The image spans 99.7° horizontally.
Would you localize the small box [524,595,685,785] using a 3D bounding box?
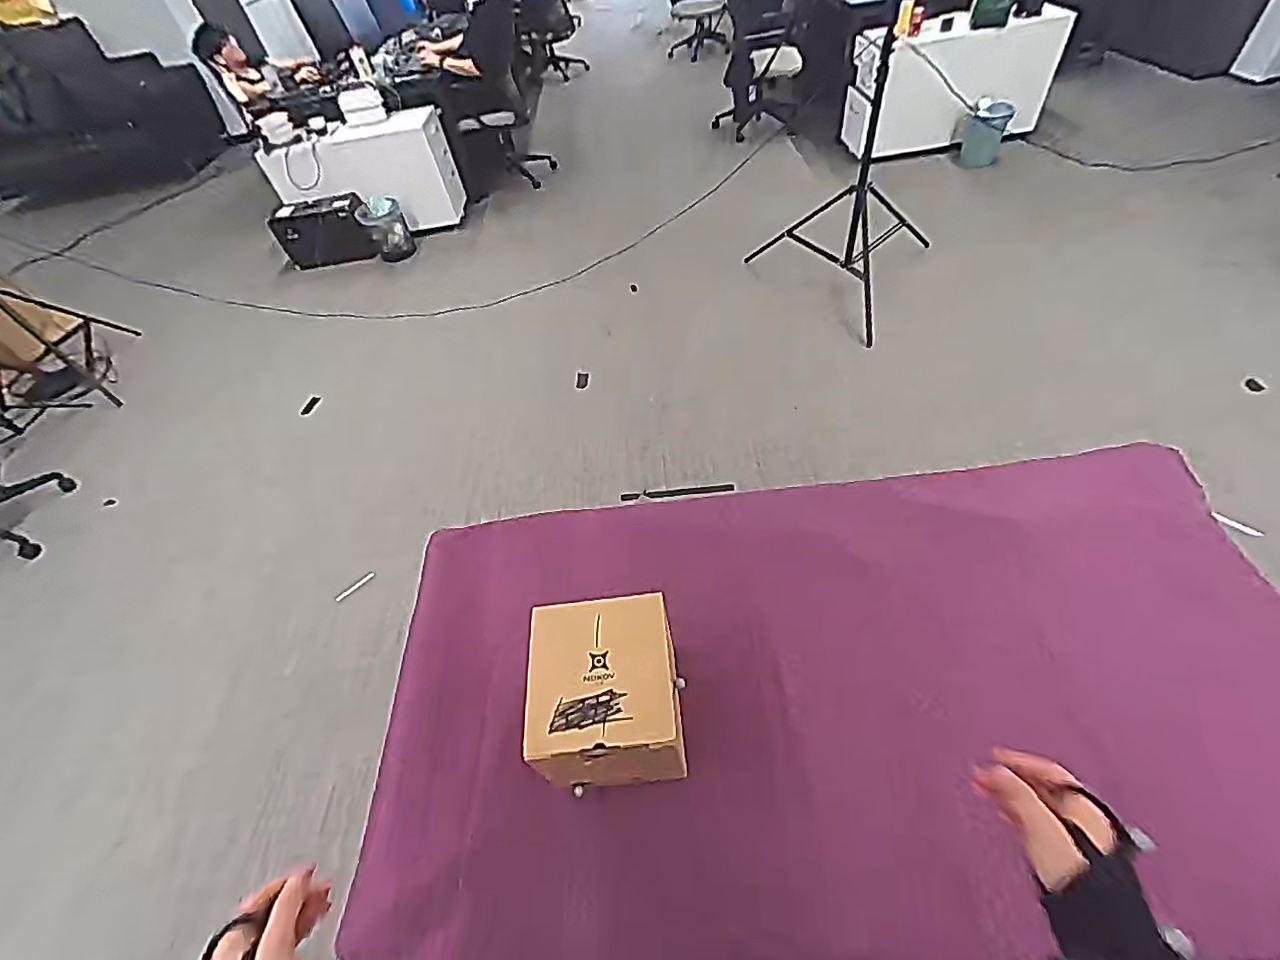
[{"bbox_3d":[-0.037,0.268,0.676,0.168,0.176,0.179,-7,49,3],"label":"small box"}]
